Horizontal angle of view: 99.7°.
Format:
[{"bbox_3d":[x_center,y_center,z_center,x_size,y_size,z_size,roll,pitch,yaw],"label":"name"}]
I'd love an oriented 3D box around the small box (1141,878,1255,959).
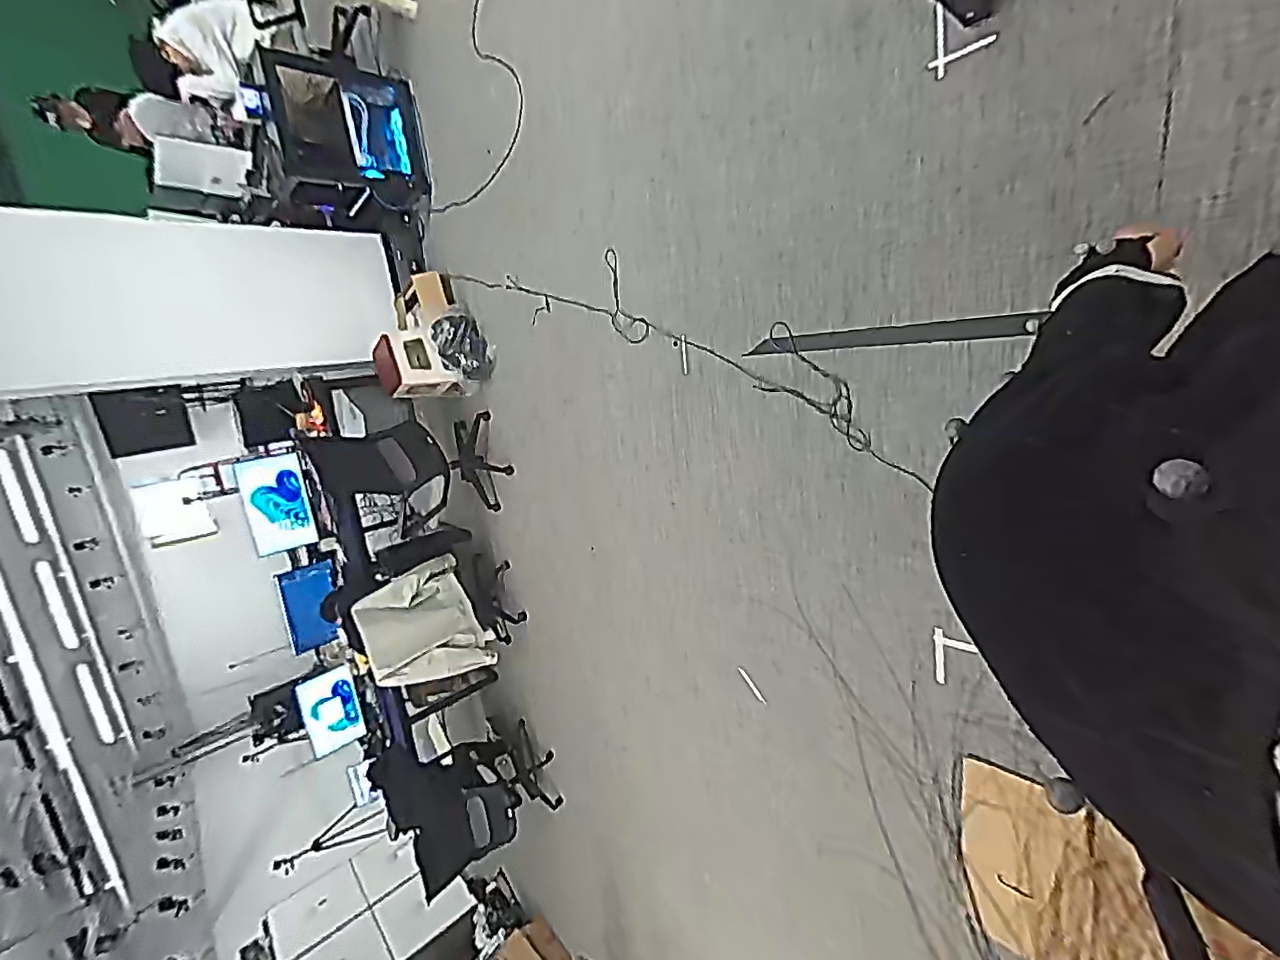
[{"bbox_3d":[1.227,1.042,1.193,0.168,0.176,0.179,5,108,48],"label":"small box"}]
